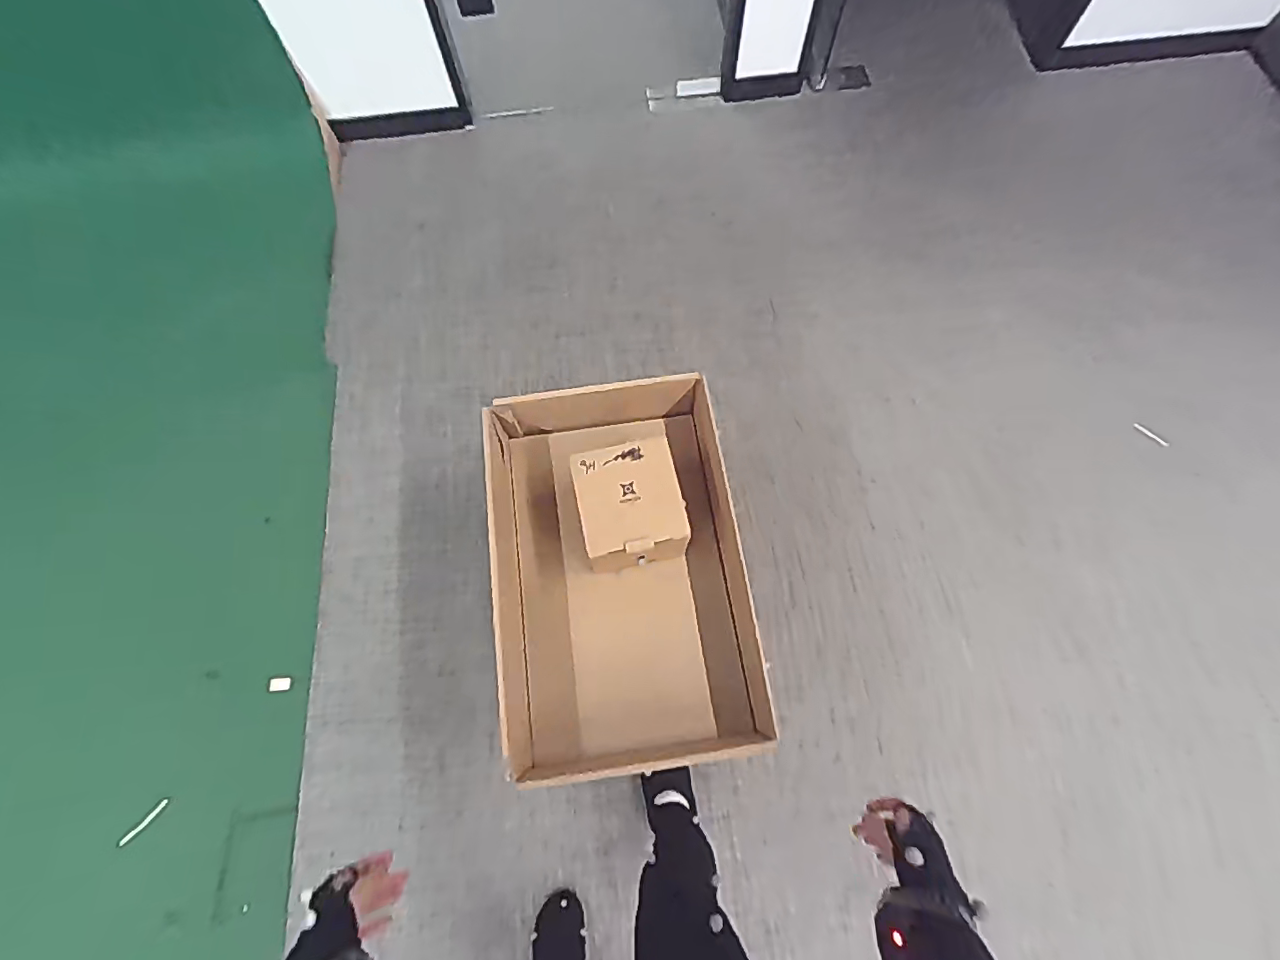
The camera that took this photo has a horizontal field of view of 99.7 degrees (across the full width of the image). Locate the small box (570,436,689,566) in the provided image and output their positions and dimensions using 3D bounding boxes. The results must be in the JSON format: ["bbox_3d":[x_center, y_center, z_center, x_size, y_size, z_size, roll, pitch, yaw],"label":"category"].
[{"bbox_3d":[-0.018,0.045,0.933,0.168,0.176,0.179,-11,73,-4],"label":"small box"}]
